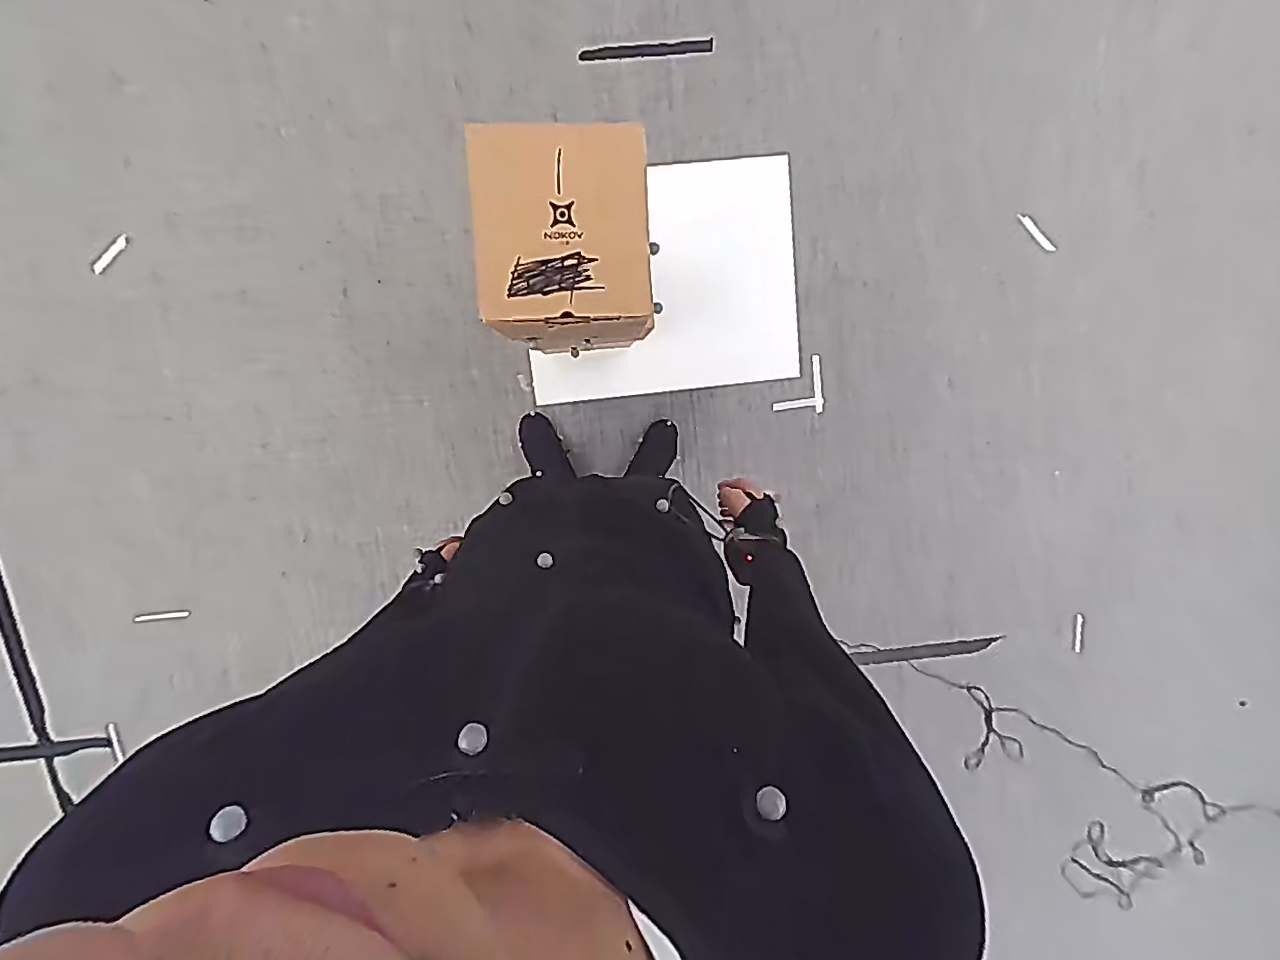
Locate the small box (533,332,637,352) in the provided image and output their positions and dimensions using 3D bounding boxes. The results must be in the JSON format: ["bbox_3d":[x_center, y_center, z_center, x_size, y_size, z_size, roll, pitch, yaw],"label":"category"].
[{"bbox_3d":[-0.096,-0.310,0.904,0.168,0.176,0.179,-6,100,-4],"label":"small box"}]

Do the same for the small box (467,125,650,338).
[{"bbox_3d":[-0.077,-0.248,0.581,0.168,0.176,0.179,-3,99,-4],"label":"small box"}]
